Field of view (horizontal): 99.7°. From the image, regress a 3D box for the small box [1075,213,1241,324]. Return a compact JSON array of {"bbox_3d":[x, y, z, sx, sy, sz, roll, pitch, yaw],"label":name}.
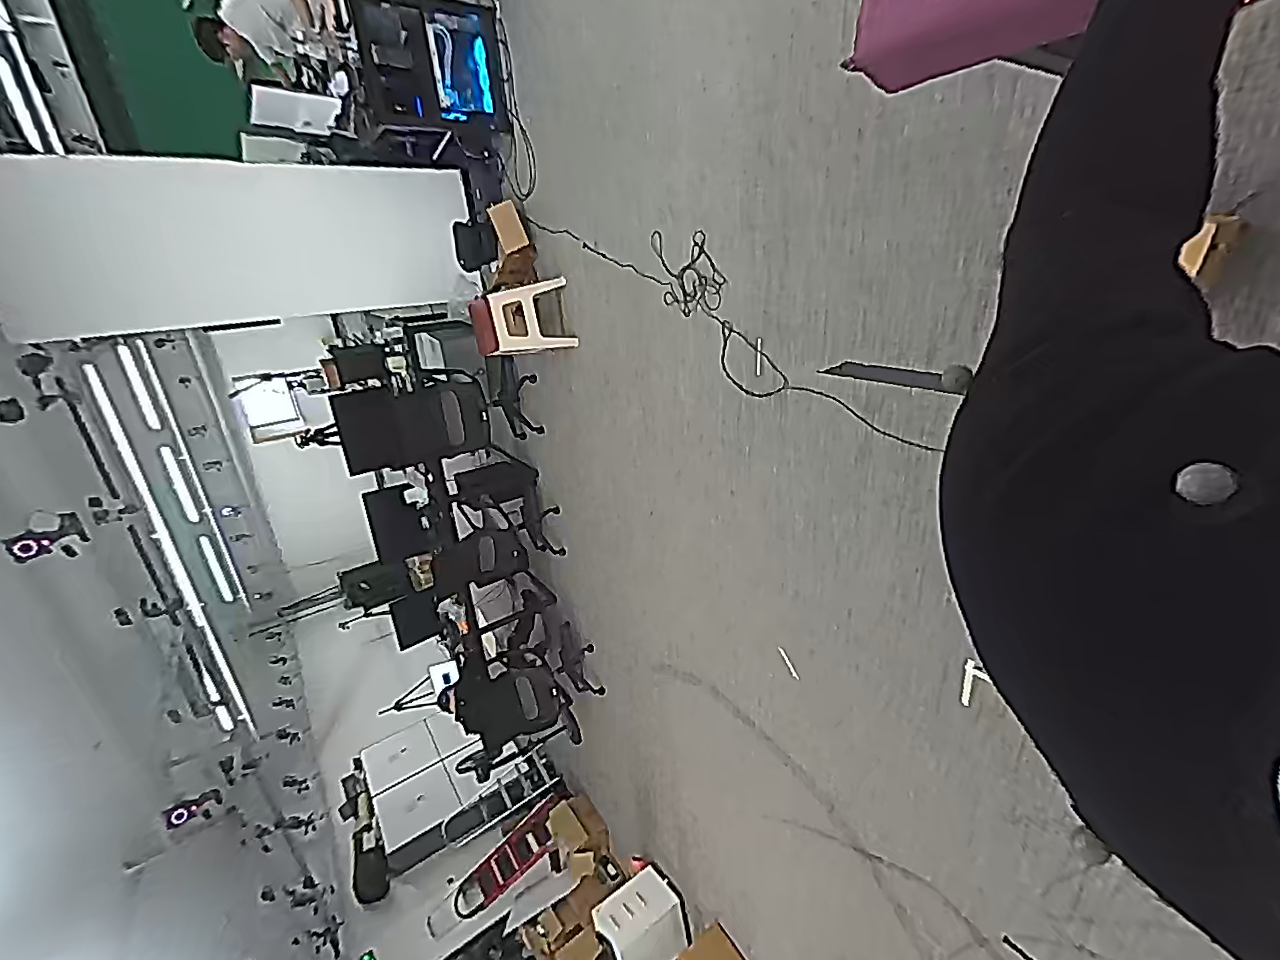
[{"bbox_3d":[0.984,-0.408,1.029,0.168,0.176,0.179,32,131,47],"label":"small box"}]
